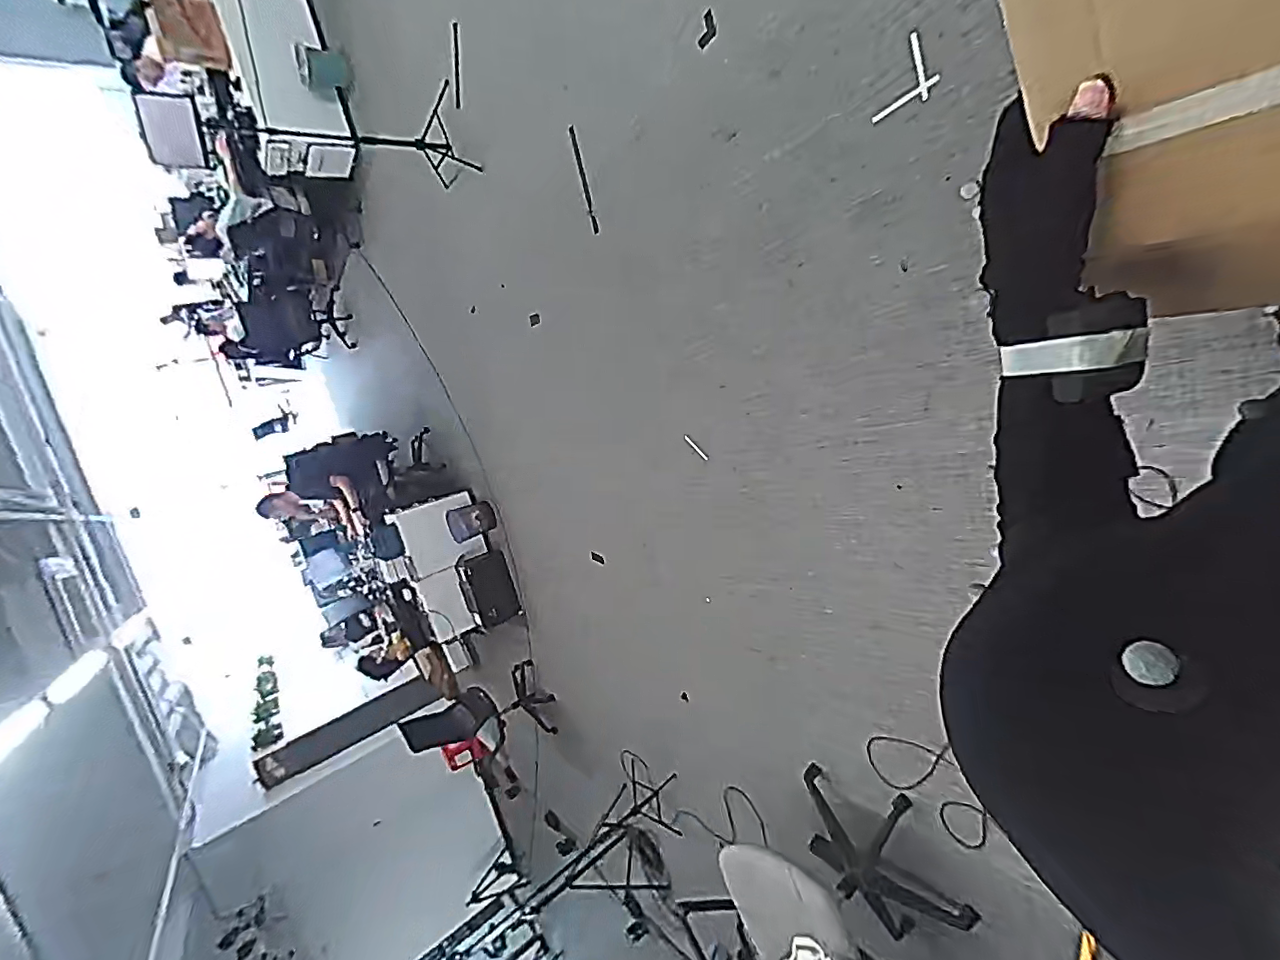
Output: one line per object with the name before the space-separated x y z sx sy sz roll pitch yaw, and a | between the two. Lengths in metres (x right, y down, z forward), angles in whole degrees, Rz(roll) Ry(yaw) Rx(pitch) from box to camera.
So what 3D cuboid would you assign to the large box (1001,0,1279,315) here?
large box | 0.451 -0.324 0.240 0.320 0.320 0.408 39 161 -34
